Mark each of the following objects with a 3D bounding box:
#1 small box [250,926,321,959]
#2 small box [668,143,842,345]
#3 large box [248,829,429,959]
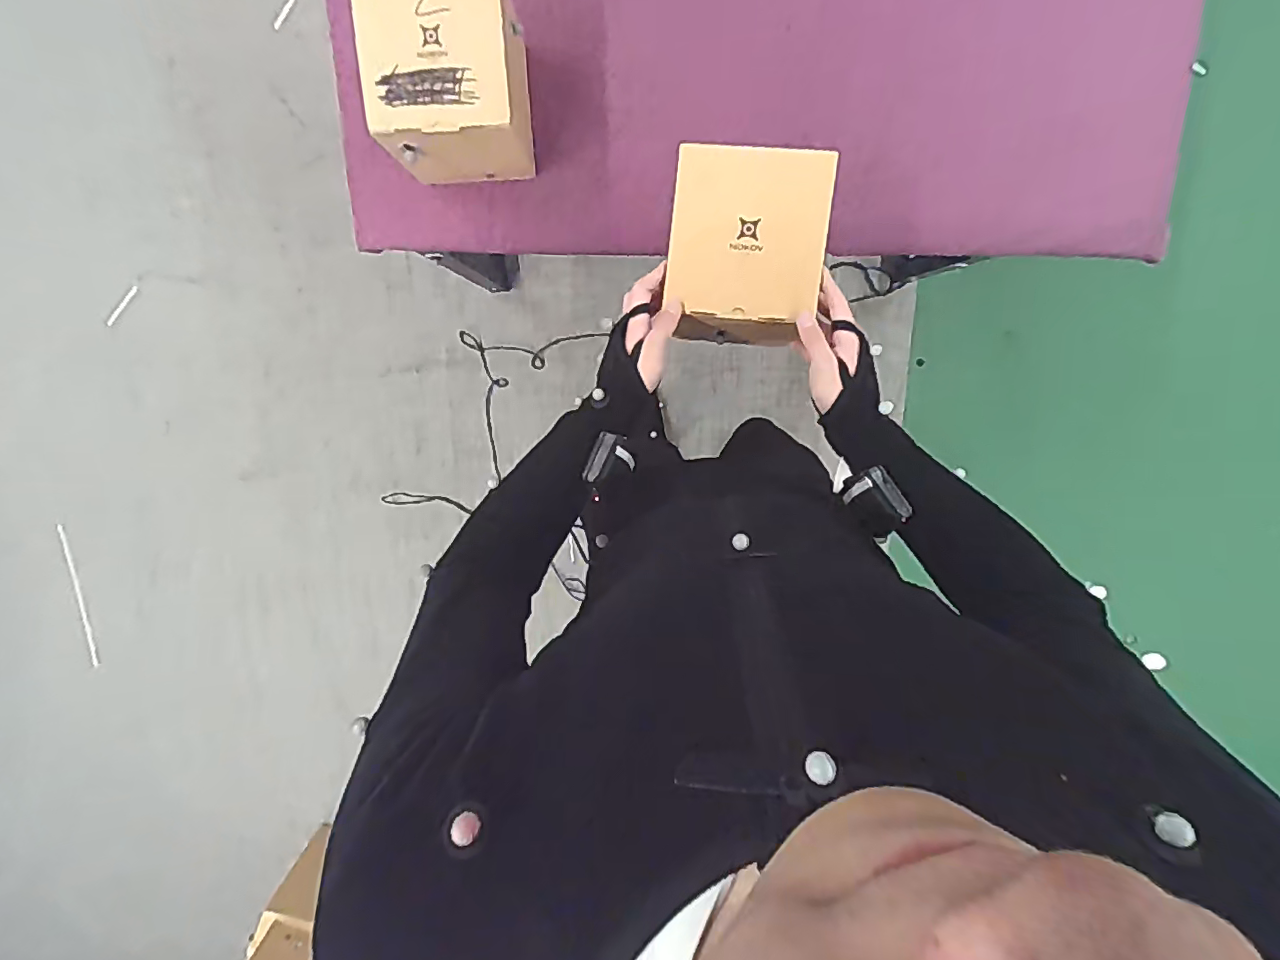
[{"bbox_3d":[-1.024,1.404,1.495,0.168,0.176,0.179,29,98,-8],"label":"small box"},{"bbox_3d":[0.125,-0.268,0.650,0.168,0.176,0.179,7,98,4],"label":"small box"},{"bbox_3d":[-0.968,1.423,1.751,0.408,0.320,0.320,22,101,-7],"label":"large box"}]
